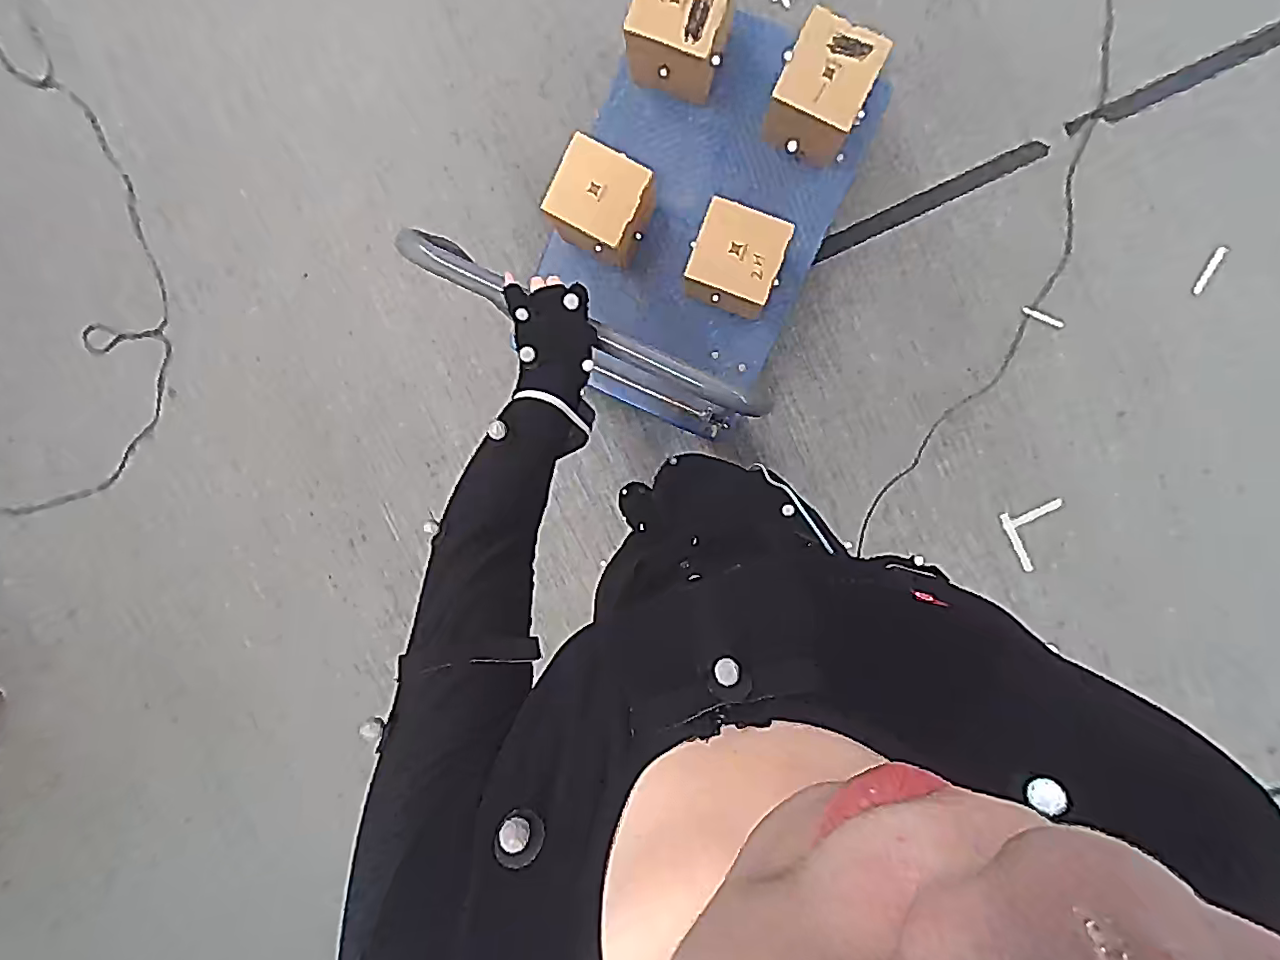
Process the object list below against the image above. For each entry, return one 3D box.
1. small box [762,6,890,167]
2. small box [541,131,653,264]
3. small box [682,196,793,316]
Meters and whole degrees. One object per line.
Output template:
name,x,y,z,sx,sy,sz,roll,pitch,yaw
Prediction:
small box,0.365,-0.786,1.101,0.168,0.176,0.179,26,99,0
small box,-0.085,-0.589,1.157,0.179,0.176,0.168,28,98,-1
small box,0.199,-0.465,1.152,0.179,0.176,0.168,21,98,1
